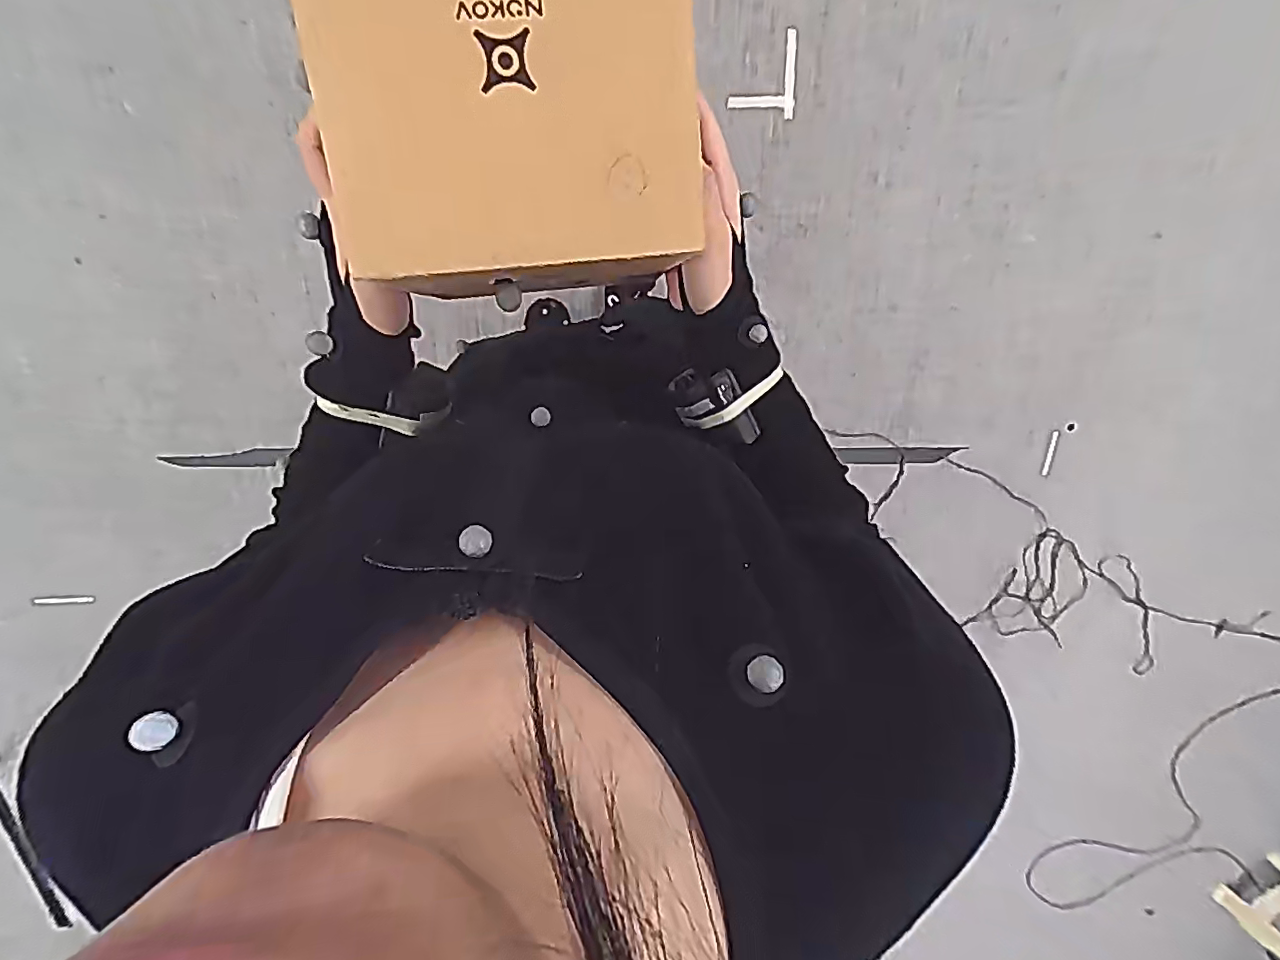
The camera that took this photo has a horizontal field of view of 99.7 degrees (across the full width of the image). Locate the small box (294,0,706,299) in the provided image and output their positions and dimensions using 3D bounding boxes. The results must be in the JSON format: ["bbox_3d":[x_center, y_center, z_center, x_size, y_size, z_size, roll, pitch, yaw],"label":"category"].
[{"bbox_3d":[-0.062,-0.199,0.304,0.168,0.176,0.179,-7,105,-4],"label":"small box"}]

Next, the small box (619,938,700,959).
[{"bbox_3d":[0.042,1.043,1.053,0.168,0.176,0.179,1,109,-5],"label":"small box"}]
